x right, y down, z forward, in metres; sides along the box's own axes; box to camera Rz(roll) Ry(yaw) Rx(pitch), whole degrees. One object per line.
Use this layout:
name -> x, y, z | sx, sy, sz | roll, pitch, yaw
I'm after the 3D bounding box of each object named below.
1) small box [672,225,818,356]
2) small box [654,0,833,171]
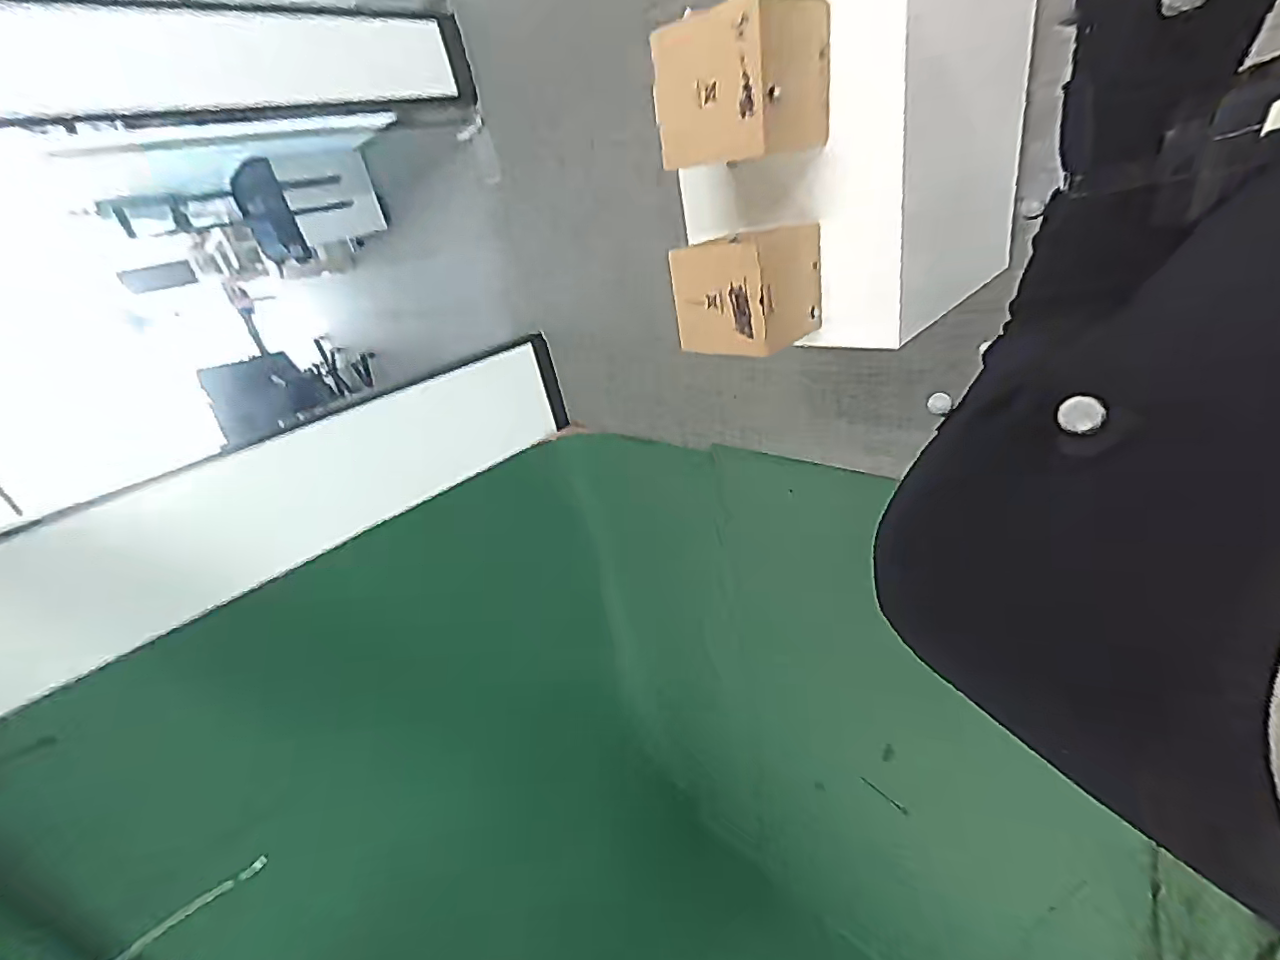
small box -> 0.181, -0.315, 0.897 | 0.179, 0.176, 0.168 | 18, 129, 44
small box -> 0.146, -0.544, 0.760 | 0.179, 0.176, 0.168 | 21, 132, 42
